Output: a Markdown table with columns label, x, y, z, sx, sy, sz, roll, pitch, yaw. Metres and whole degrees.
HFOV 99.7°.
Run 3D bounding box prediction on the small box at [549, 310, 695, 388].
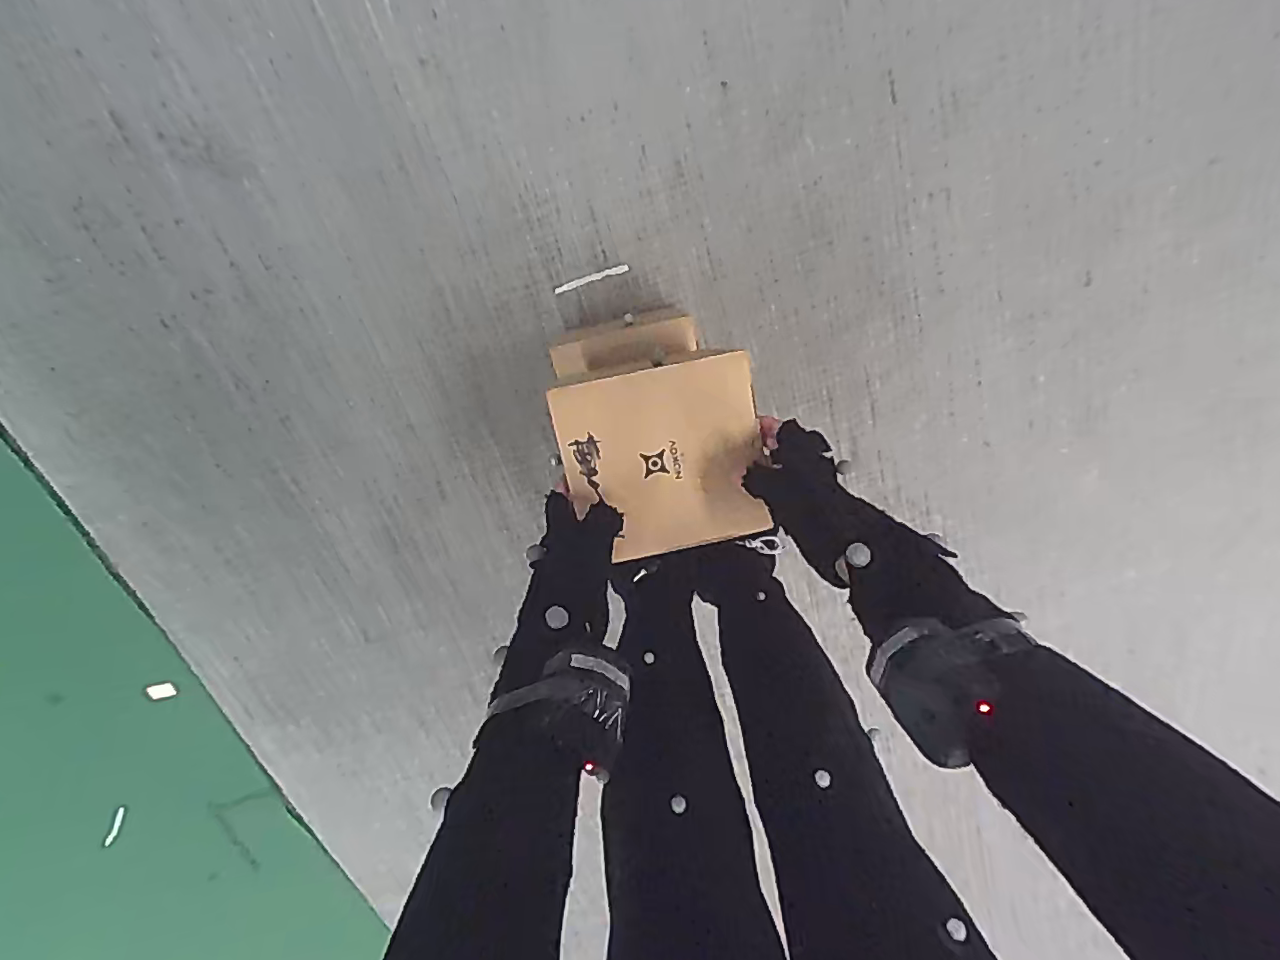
| label | x | y | z | sx | sy | sz | roll | pitch | yaw |
| --- | --- | --- | --- | --- | --- | --- | --- | --- | --- |
| small box | -0.013 | -0.130 | 0.743 | 0.179 | 0.176 | 0.168 | -12 | 111 | 3 |

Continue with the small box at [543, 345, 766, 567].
| label | x | y | z | sx | sy | sz | roll | pitch | yaw |
| --- | --- | --- | --- | --- | --- | --- | --- | --- | --- |
| small box | 0.012 | -0.037 | 0.559 | 0.179 | 0.176 | 0.168 | -14 | 108 | 1 |
